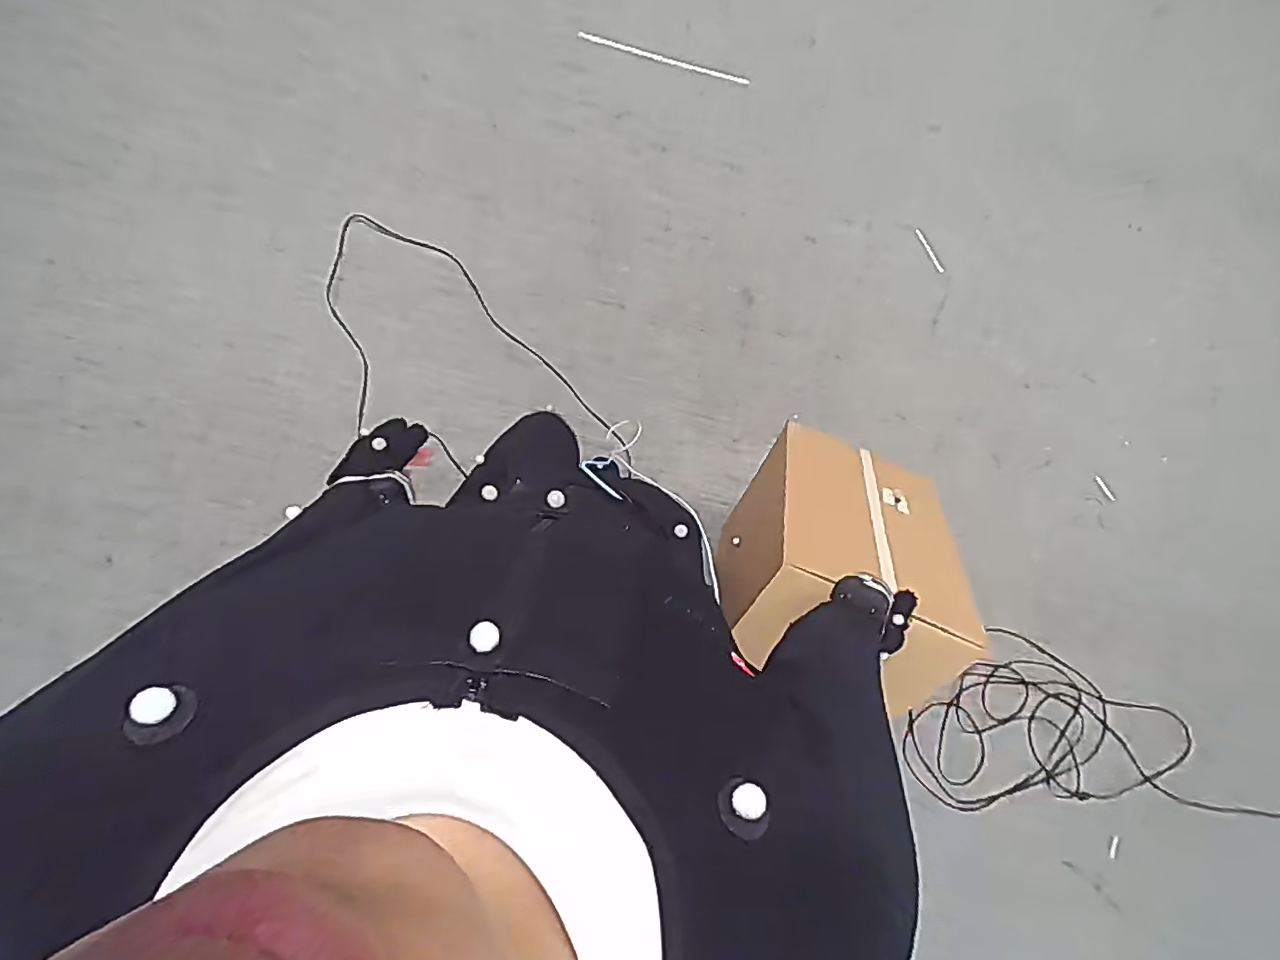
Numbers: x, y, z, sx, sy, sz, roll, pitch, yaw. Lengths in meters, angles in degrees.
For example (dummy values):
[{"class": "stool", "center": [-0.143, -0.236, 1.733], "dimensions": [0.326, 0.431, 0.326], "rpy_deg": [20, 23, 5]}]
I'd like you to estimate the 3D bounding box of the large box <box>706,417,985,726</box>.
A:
[{"class": "large box", "center": [0.337, 0.156, 0.992], "dimensions": [0.320, 0.408, 0.320], "rpy_deg": [24, 129, -1]}]
